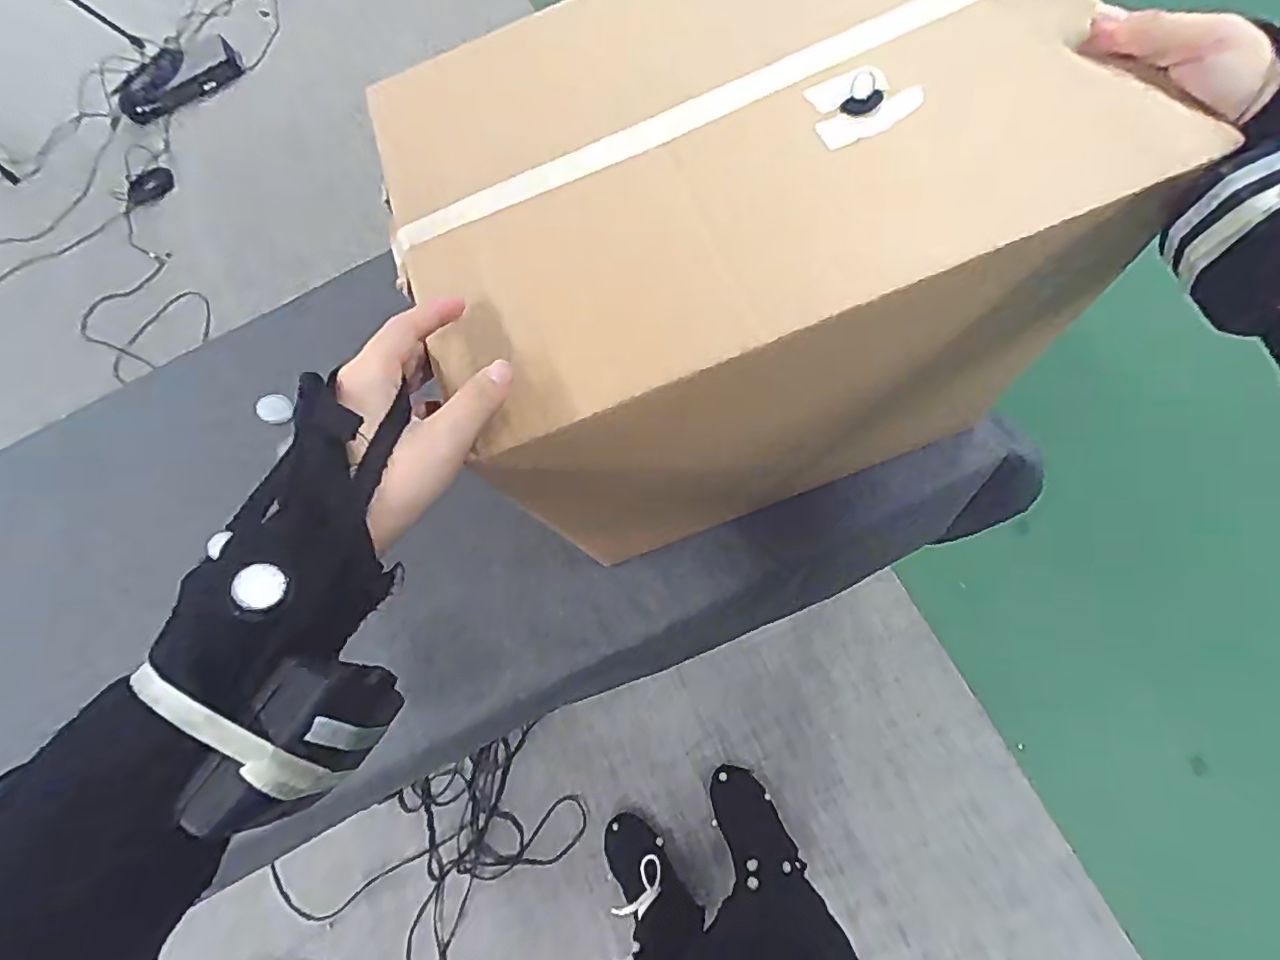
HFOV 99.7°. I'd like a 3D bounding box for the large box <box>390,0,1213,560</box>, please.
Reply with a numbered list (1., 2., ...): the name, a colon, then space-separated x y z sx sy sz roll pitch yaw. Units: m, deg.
1. large box: 0.075 -0.168 0.464 0.408 0.320 0.320 -21 69 2
